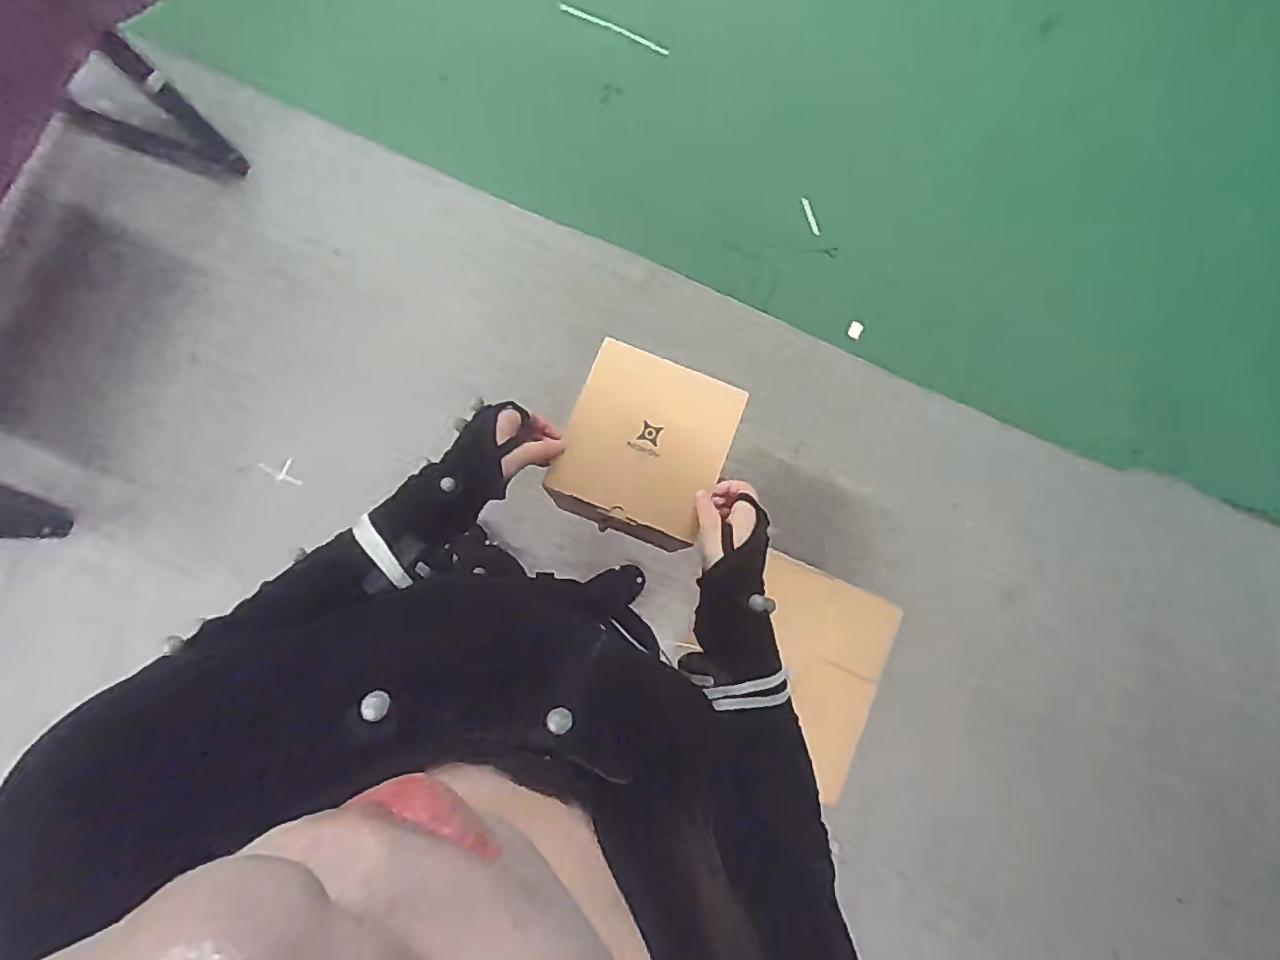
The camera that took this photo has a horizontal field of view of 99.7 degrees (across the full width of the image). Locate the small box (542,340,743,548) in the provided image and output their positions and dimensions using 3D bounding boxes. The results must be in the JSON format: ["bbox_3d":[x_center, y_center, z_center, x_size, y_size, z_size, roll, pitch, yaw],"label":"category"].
[{"bbox_3d":[0.000,-0.030,0.635,0.168,0.176,0.179,21,82,0],"label":"small box"}]
